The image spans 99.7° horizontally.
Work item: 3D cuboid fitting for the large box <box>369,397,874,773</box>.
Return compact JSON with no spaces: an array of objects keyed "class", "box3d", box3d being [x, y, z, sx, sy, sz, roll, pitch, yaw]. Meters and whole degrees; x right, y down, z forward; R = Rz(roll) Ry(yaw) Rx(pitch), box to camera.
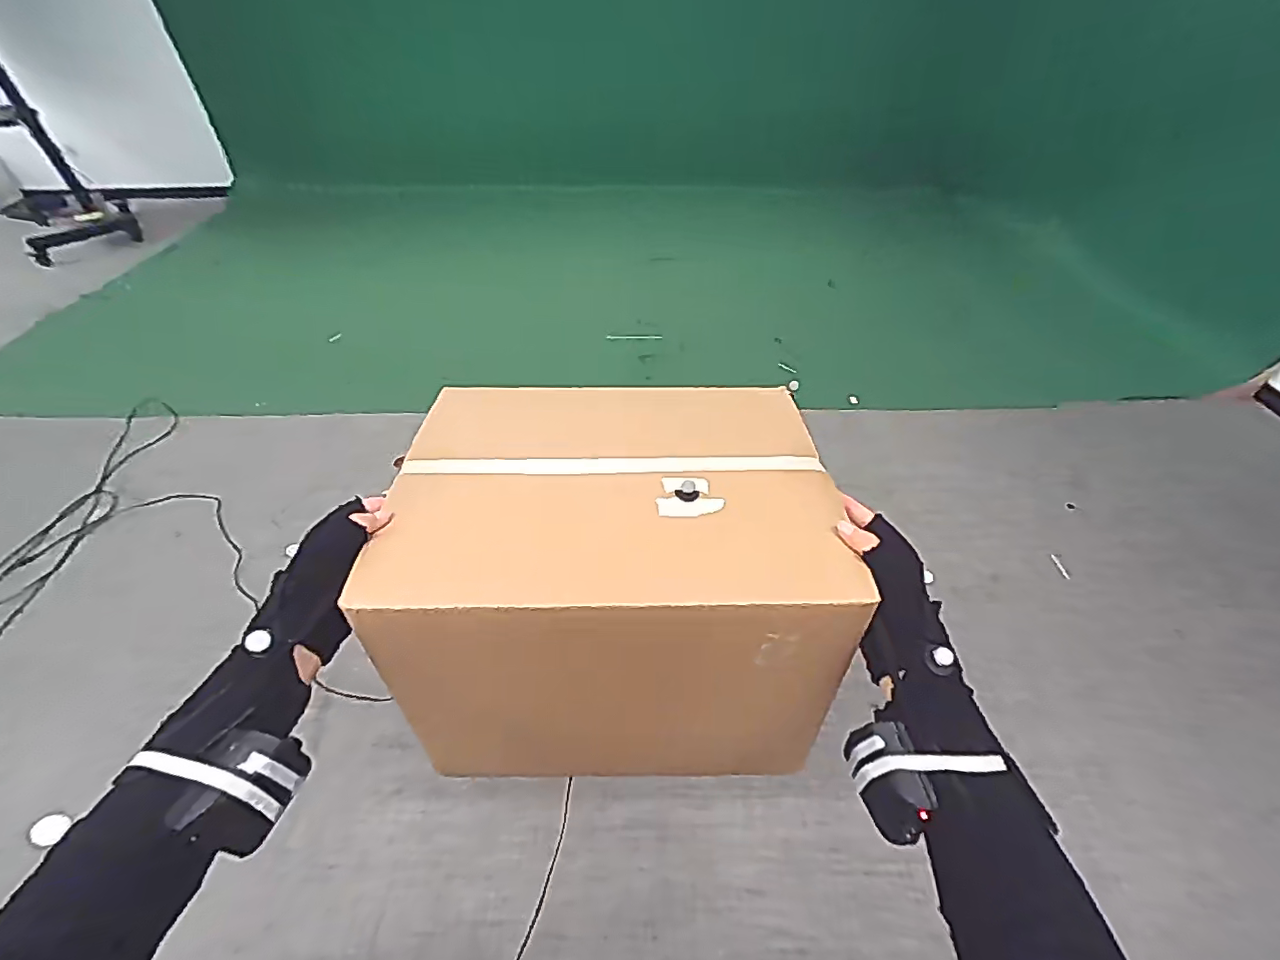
[{"class":"large box","box3d":[-0.020,0.113,0.626,0.408,0.320,0.320,0,41,-2]}]
